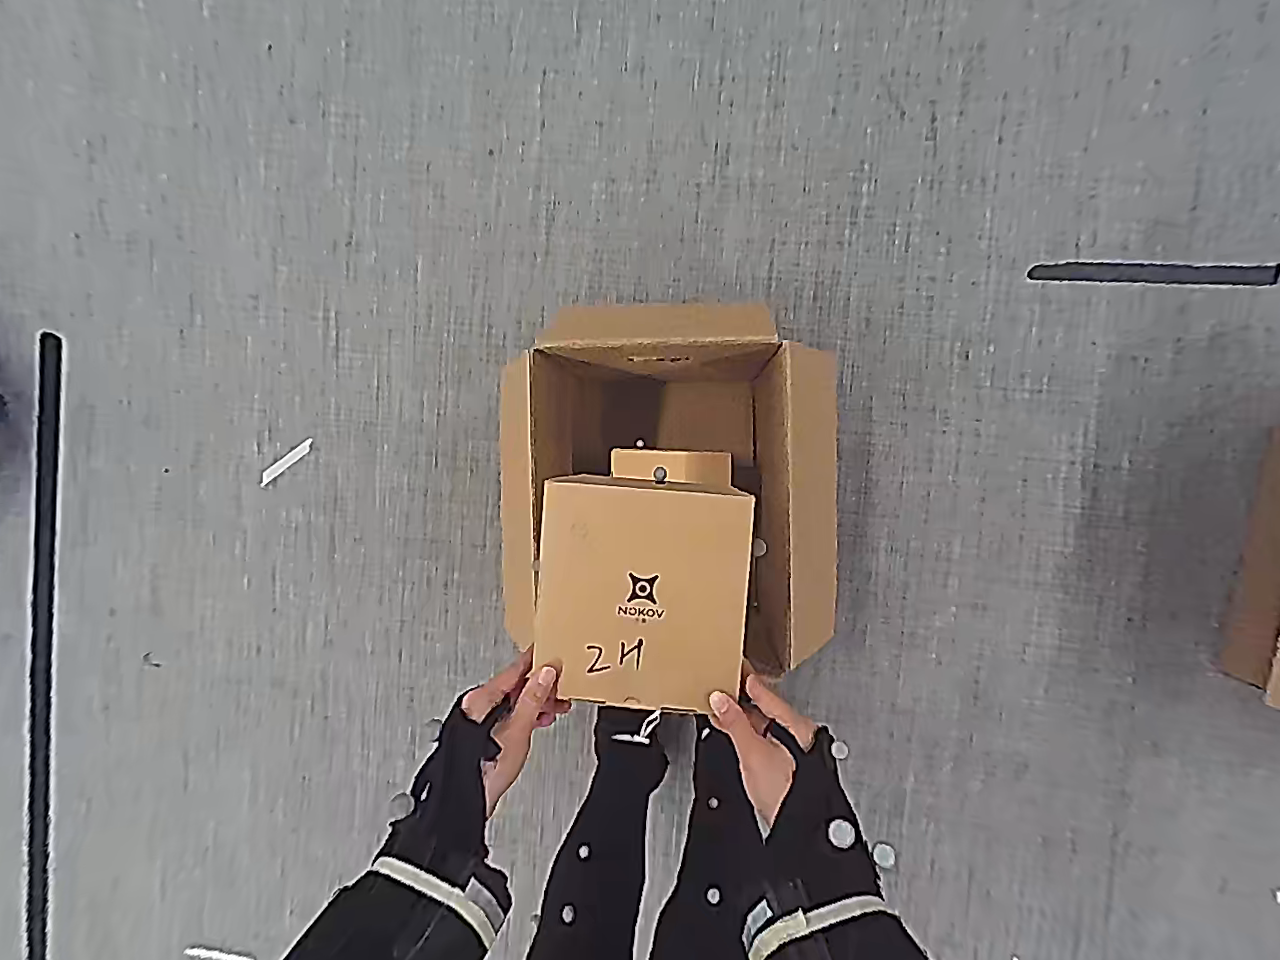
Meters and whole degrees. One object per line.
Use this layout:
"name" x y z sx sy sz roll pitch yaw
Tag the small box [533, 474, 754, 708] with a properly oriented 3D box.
"small box" 0.006 0.086 0.508 0.168 0.176 0.179 4 92 4
